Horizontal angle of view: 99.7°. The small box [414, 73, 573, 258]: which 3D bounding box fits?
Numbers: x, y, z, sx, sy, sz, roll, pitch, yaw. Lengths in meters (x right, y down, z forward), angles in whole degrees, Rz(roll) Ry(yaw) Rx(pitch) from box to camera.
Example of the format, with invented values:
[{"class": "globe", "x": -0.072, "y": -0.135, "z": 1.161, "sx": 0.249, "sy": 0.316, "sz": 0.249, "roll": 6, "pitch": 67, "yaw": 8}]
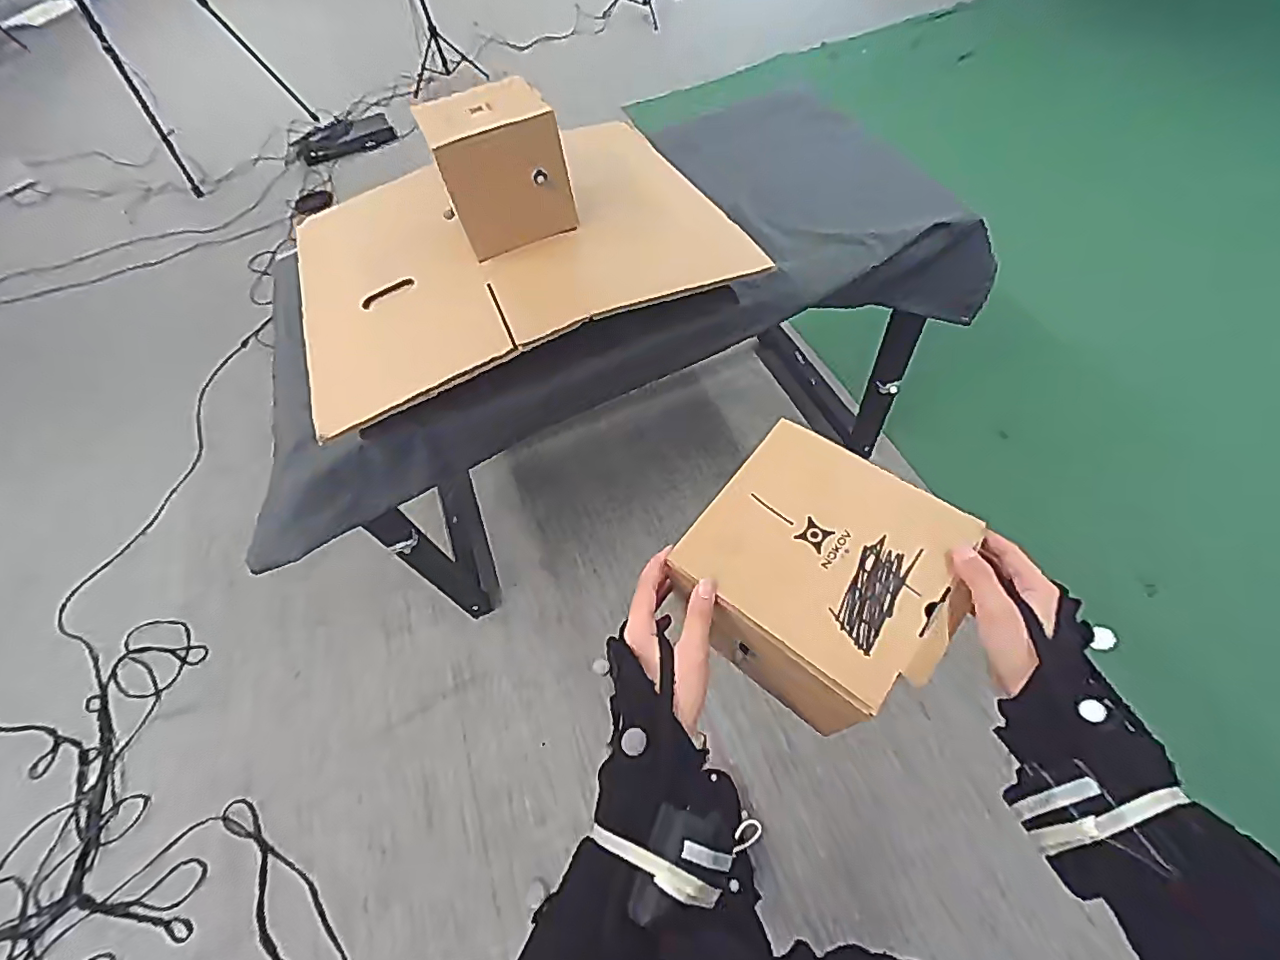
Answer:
[{"class": "small box", "x": -0.213, "y": -0.475, "z": 0.823, "sx": 0.179, "sy": 0.176, "sz": 0.168, "roll": -24, "pitch": 55, "yaw": -8}]
